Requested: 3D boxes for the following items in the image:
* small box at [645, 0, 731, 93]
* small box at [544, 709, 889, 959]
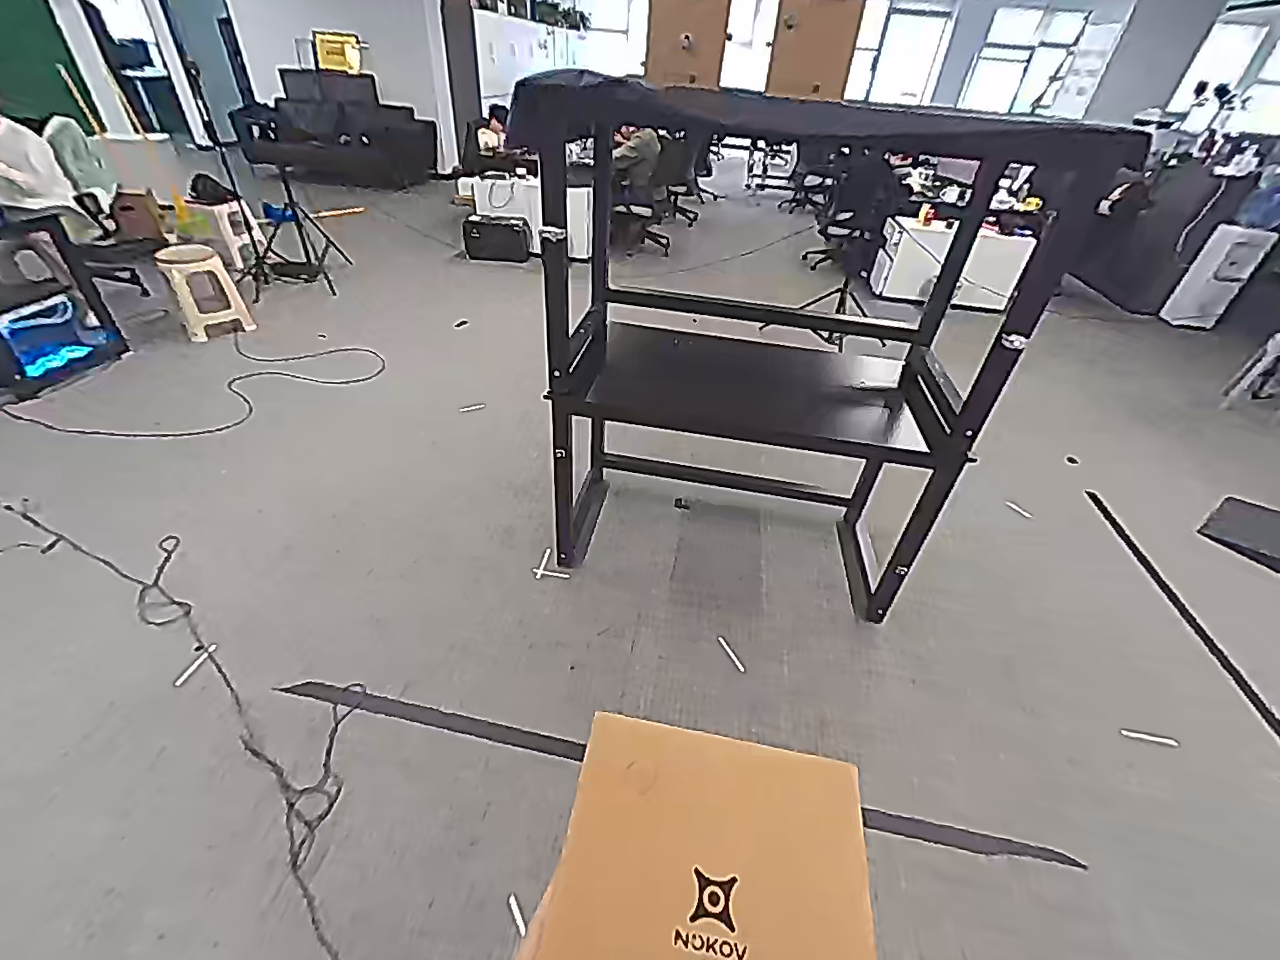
[{"bbox_3d":[0.102,-0.936,1.155,0.168,0.176,0.179,7,37,1],"label":"small box"},{"bbox_3d":[0.034,0.272,0.325,0.168,0.176,0.179,10,44,4],"label":"small box"}]
